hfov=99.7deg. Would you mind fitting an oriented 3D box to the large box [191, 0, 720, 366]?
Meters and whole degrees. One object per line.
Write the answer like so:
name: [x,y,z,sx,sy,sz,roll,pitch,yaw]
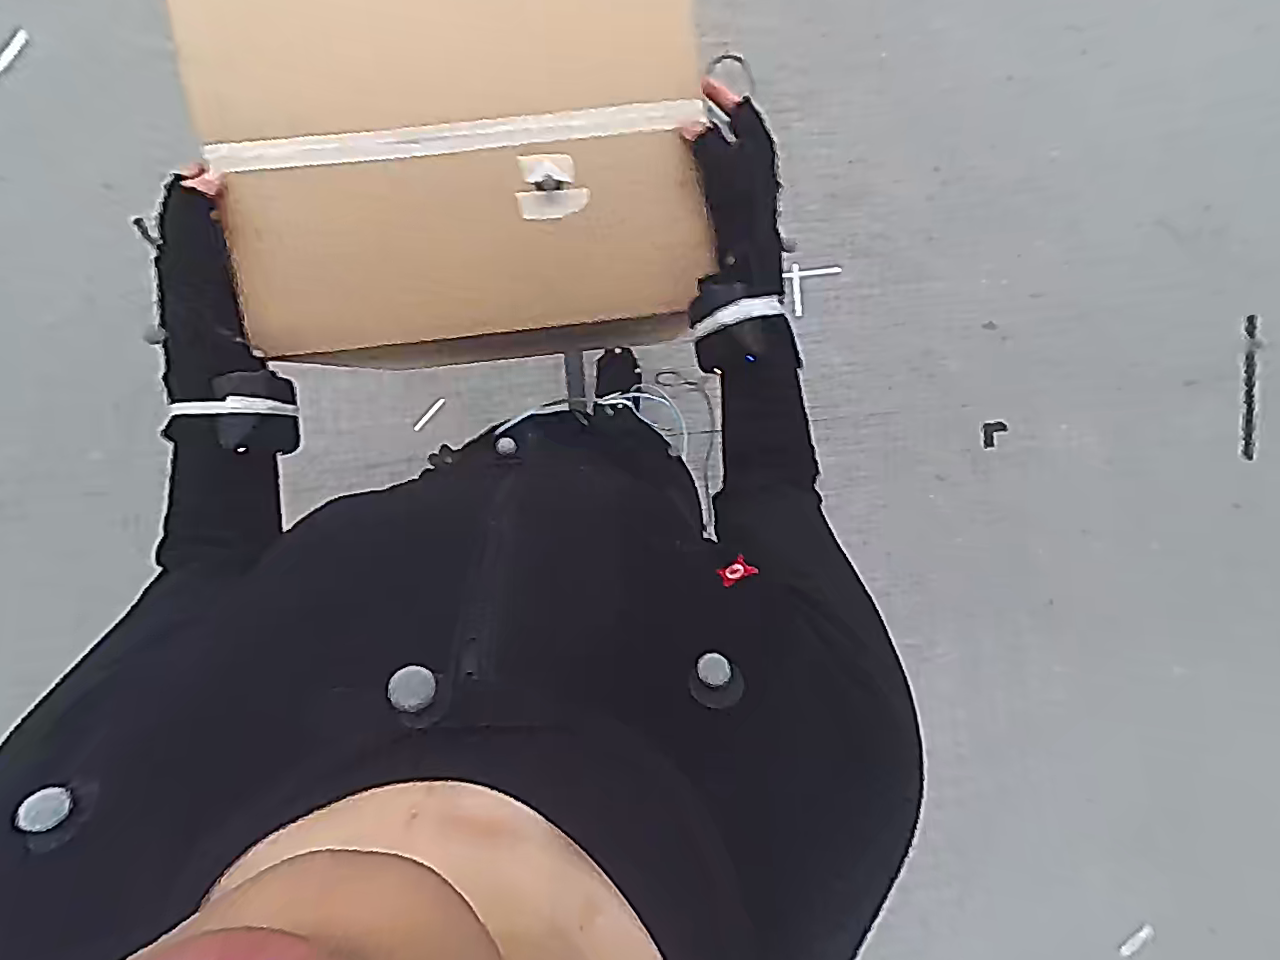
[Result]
large box: [-0.156,-0.313,0.601,0.408,0.320,0.320,-8,101,-4]
